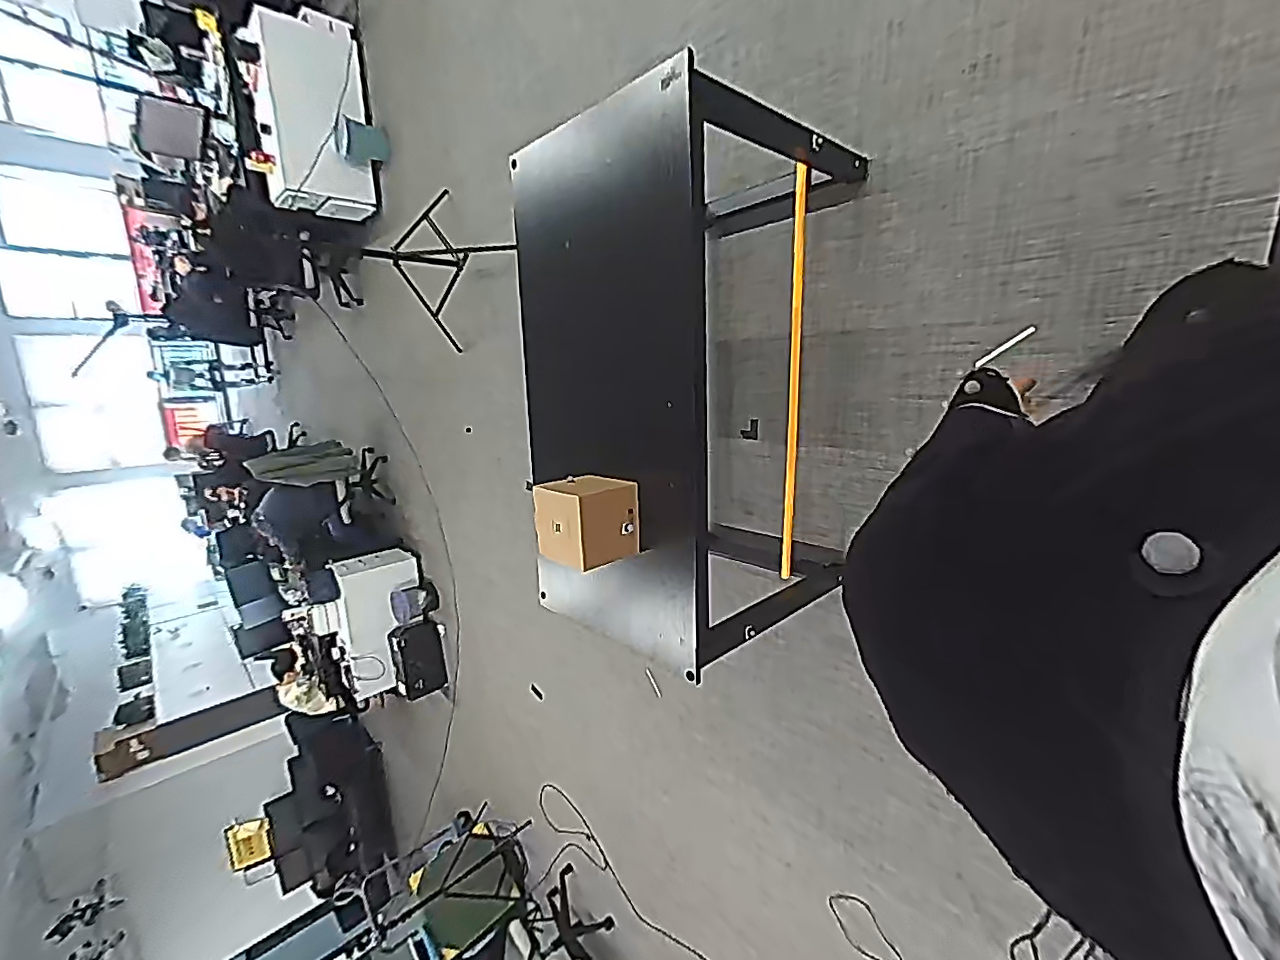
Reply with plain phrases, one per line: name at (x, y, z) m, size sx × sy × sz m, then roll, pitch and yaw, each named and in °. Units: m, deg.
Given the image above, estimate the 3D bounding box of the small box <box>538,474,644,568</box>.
small box at (-0.110, 0.084, 1.224) m, size 0.179 × 0.176 × 0.168 m, roll 8°, pitch 106°, yaw 46°
